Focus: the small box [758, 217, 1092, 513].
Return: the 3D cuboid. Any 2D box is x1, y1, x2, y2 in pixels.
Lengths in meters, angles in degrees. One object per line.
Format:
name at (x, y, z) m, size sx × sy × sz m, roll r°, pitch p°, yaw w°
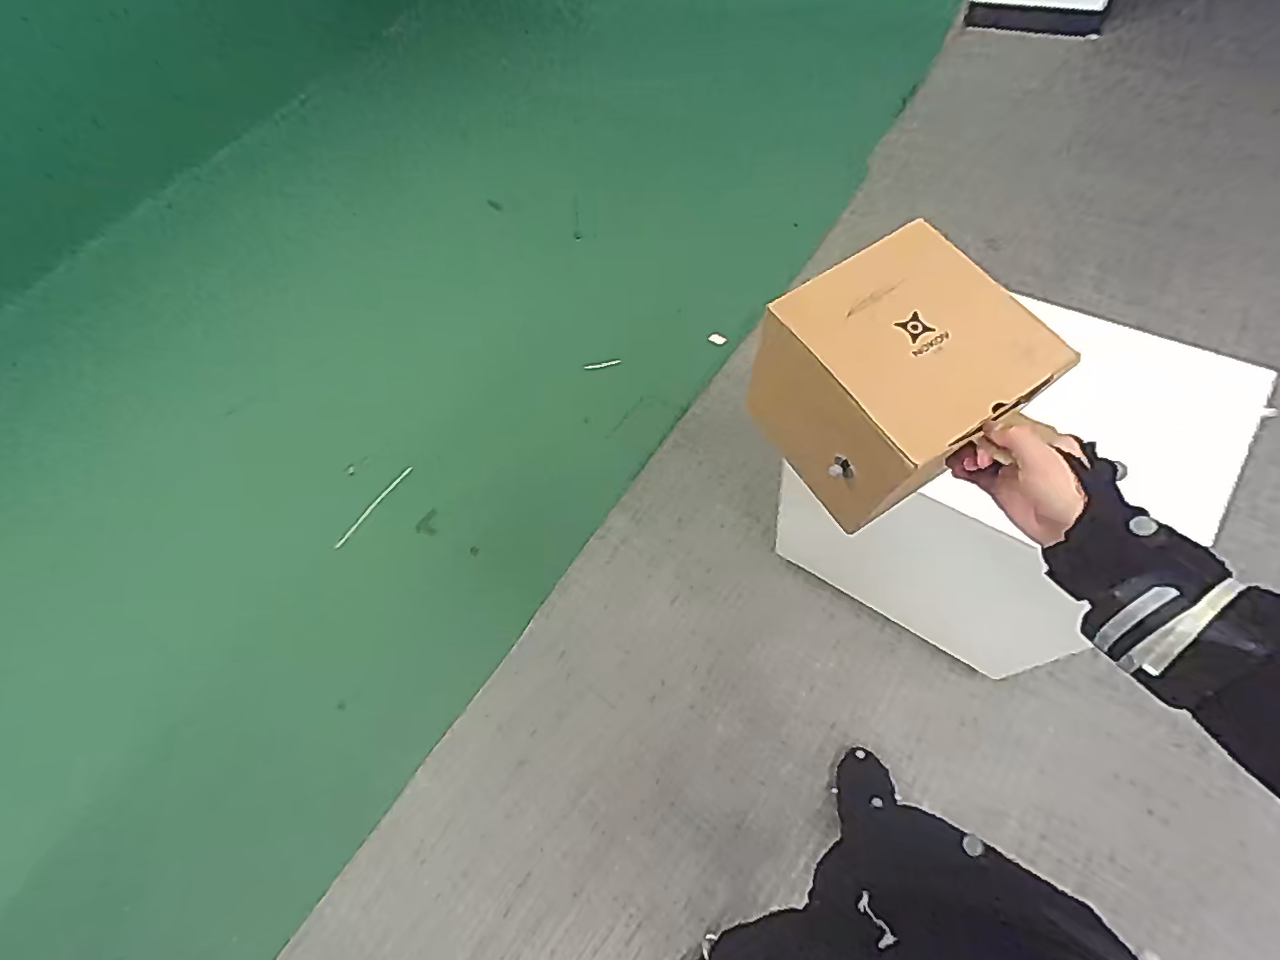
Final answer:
small box at (0.230, -0.088, 0.493) m, size 0.168 × 0.176 × 0.179 m, roll -30°, pitch 68°, yaw -9°
